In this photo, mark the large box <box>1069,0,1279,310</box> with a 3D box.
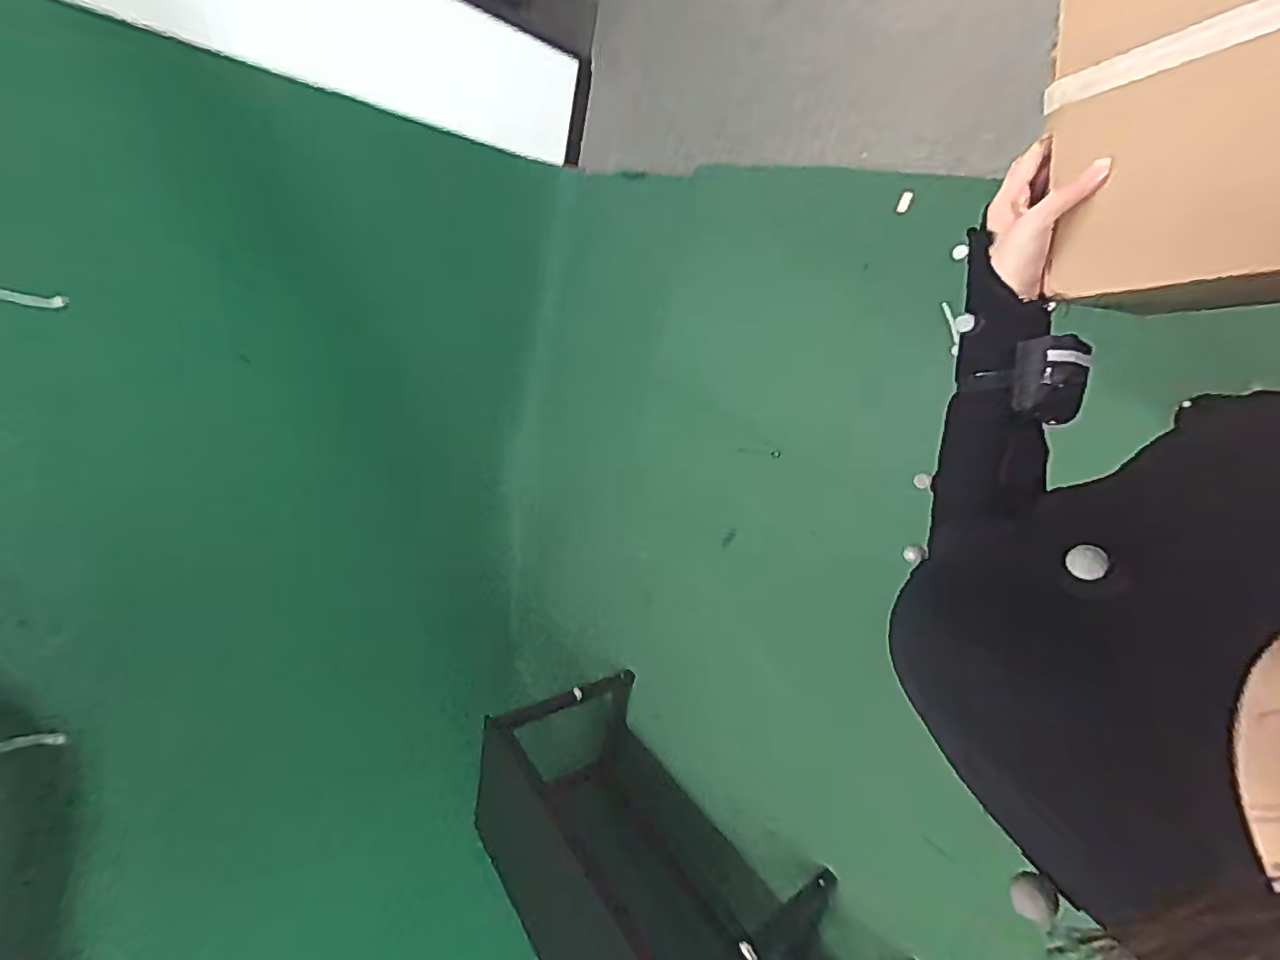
[{"bbox_3d":[0.577,-0.308,0.353,0.408,0.320,0.320,9,106,51],"label":"large box"}]
